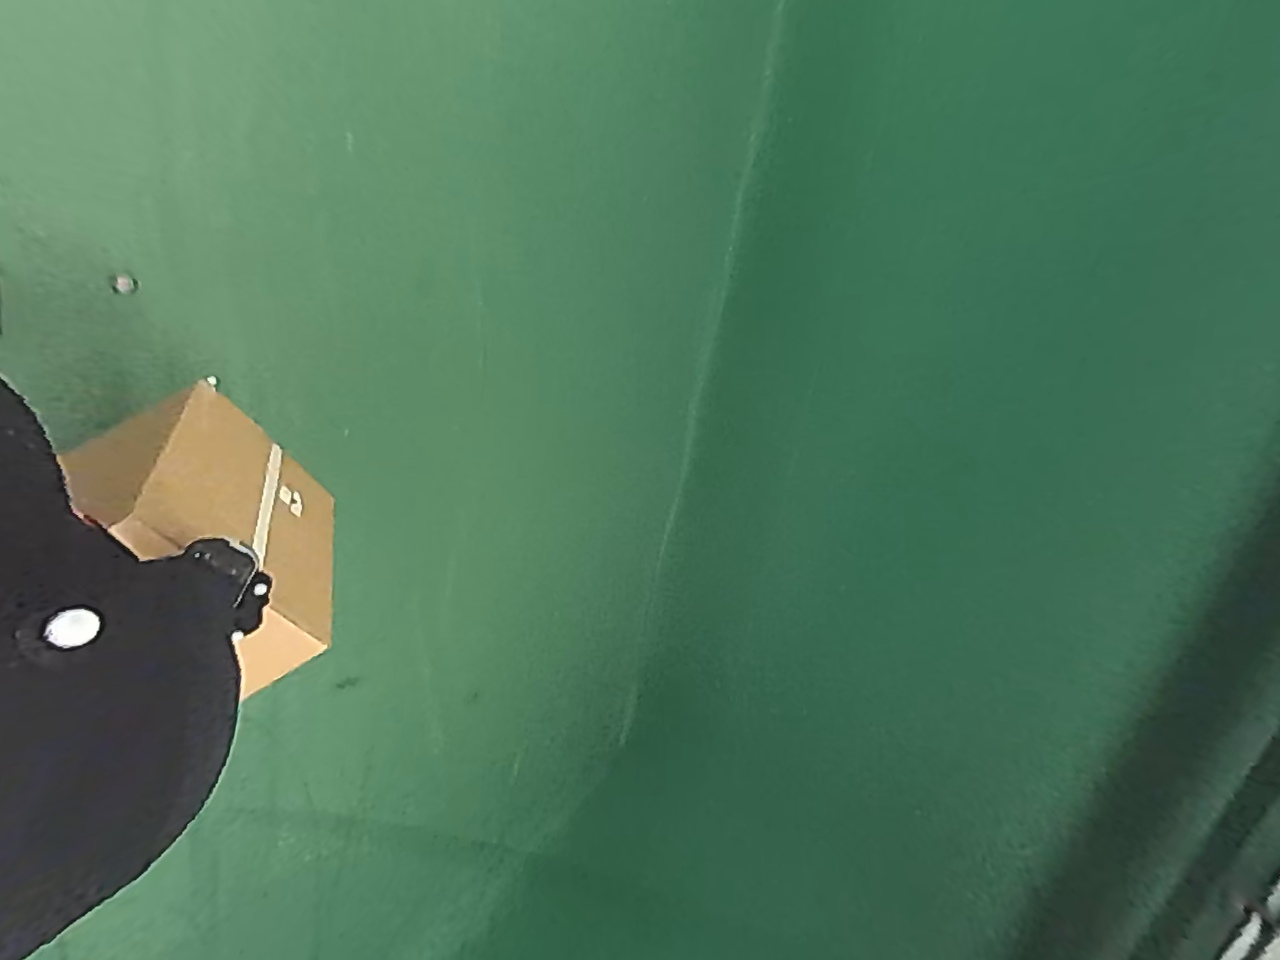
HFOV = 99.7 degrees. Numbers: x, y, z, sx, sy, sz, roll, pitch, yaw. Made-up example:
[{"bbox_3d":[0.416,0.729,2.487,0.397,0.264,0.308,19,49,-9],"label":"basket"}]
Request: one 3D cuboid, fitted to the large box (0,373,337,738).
[{"bbox_3d":[-0.720,0.105,0.848,0.320,0.408,0.320,-32,131,-5],"label":"large box"}]
